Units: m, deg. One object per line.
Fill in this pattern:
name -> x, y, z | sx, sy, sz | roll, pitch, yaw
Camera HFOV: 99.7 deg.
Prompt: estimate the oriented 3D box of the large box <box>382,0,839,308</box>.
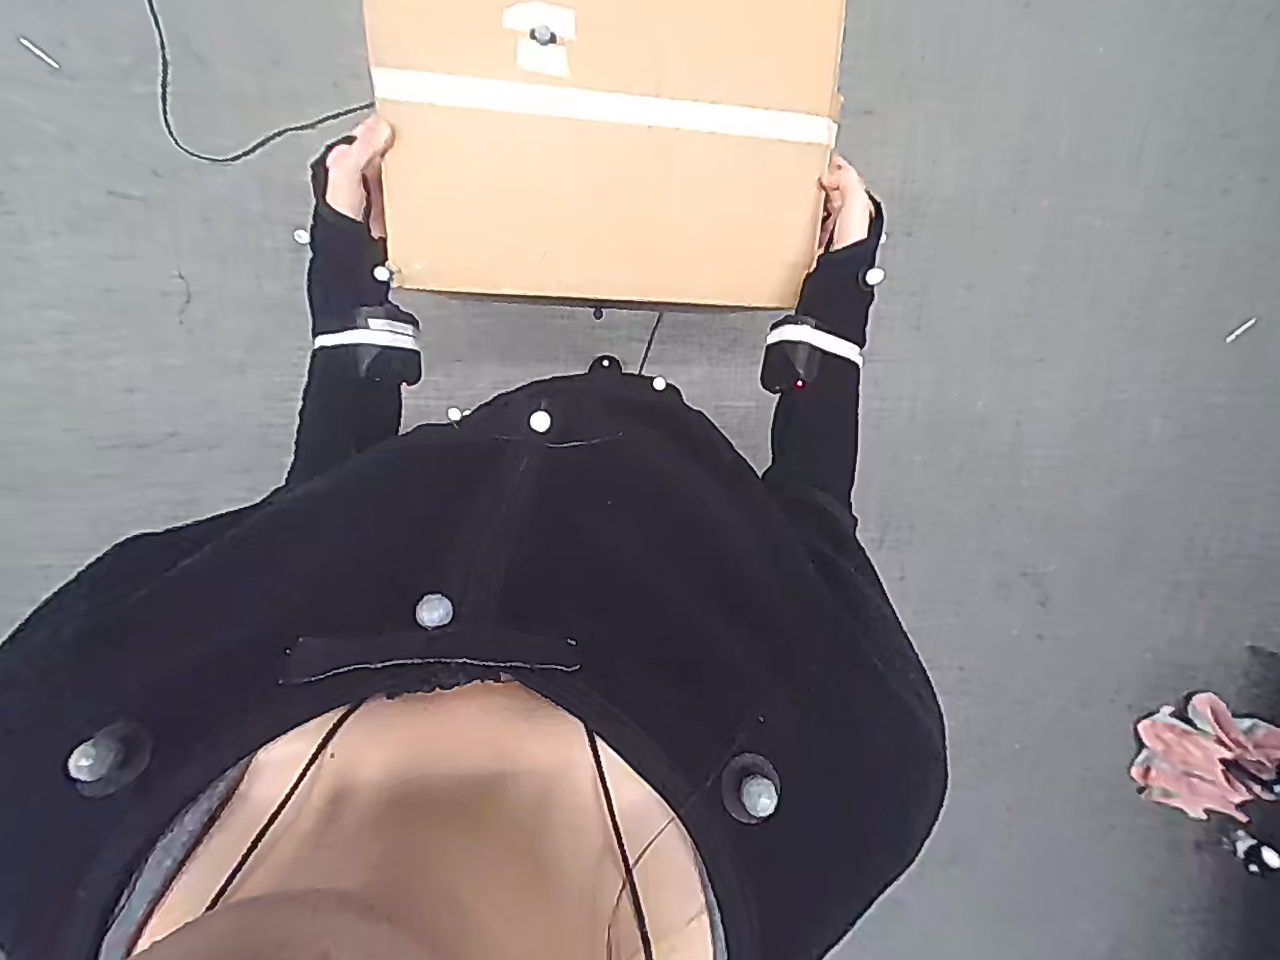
large box -> -0.041, -0.372, 0.633 | 0.408, 0.320, 0.320 | 0, 106, -10
